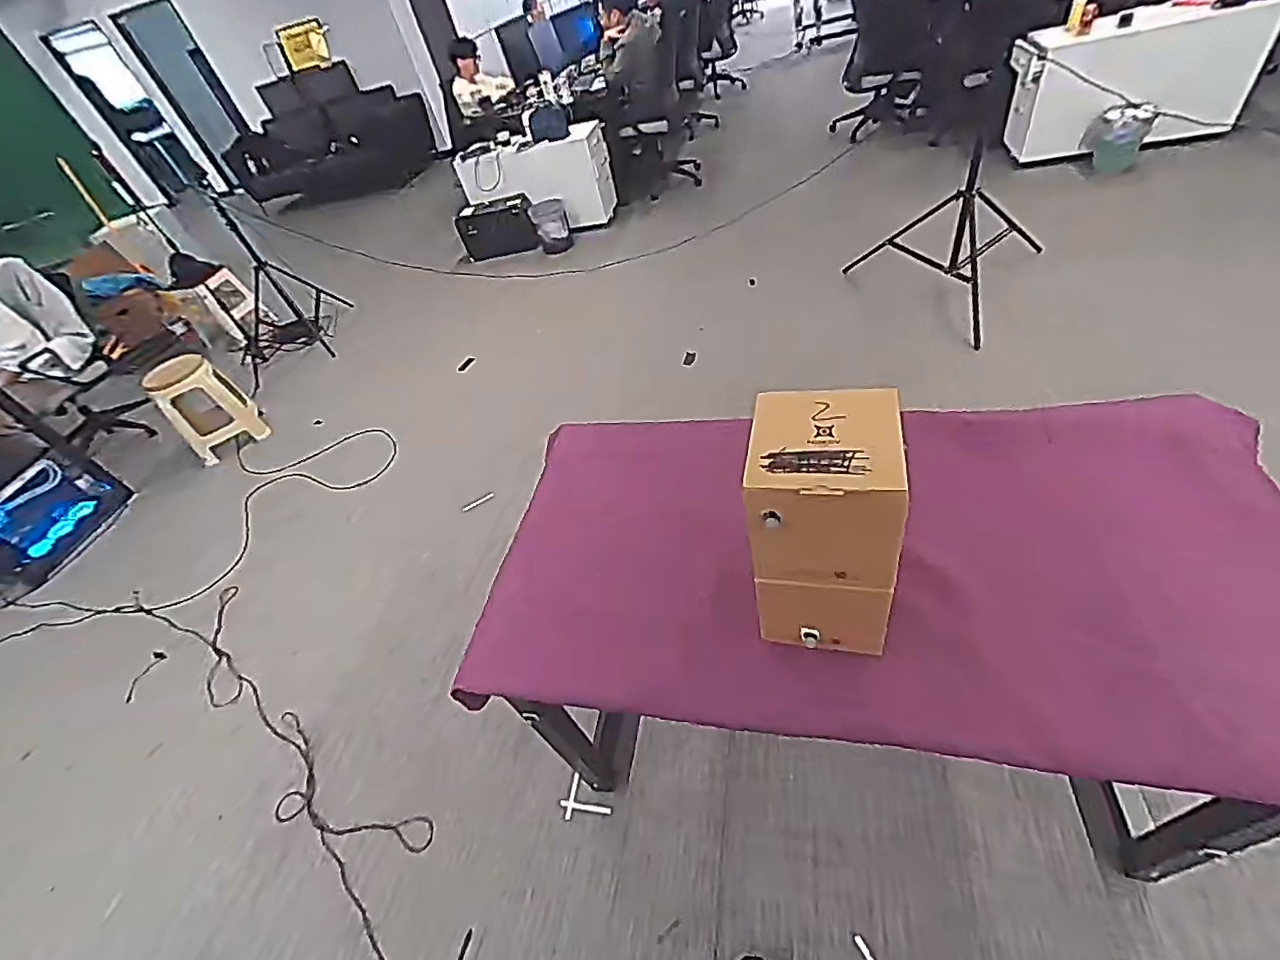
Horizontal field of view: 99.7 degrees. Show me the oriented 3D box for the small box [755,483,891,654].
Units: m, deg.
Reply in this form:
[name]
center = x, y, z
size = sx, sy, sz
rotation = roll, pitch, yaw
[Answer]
[small box]
center = 0.261, 0.125, 0.782
size = 0.168, 0.176, 0.179
rotation = 1, 47, 19
